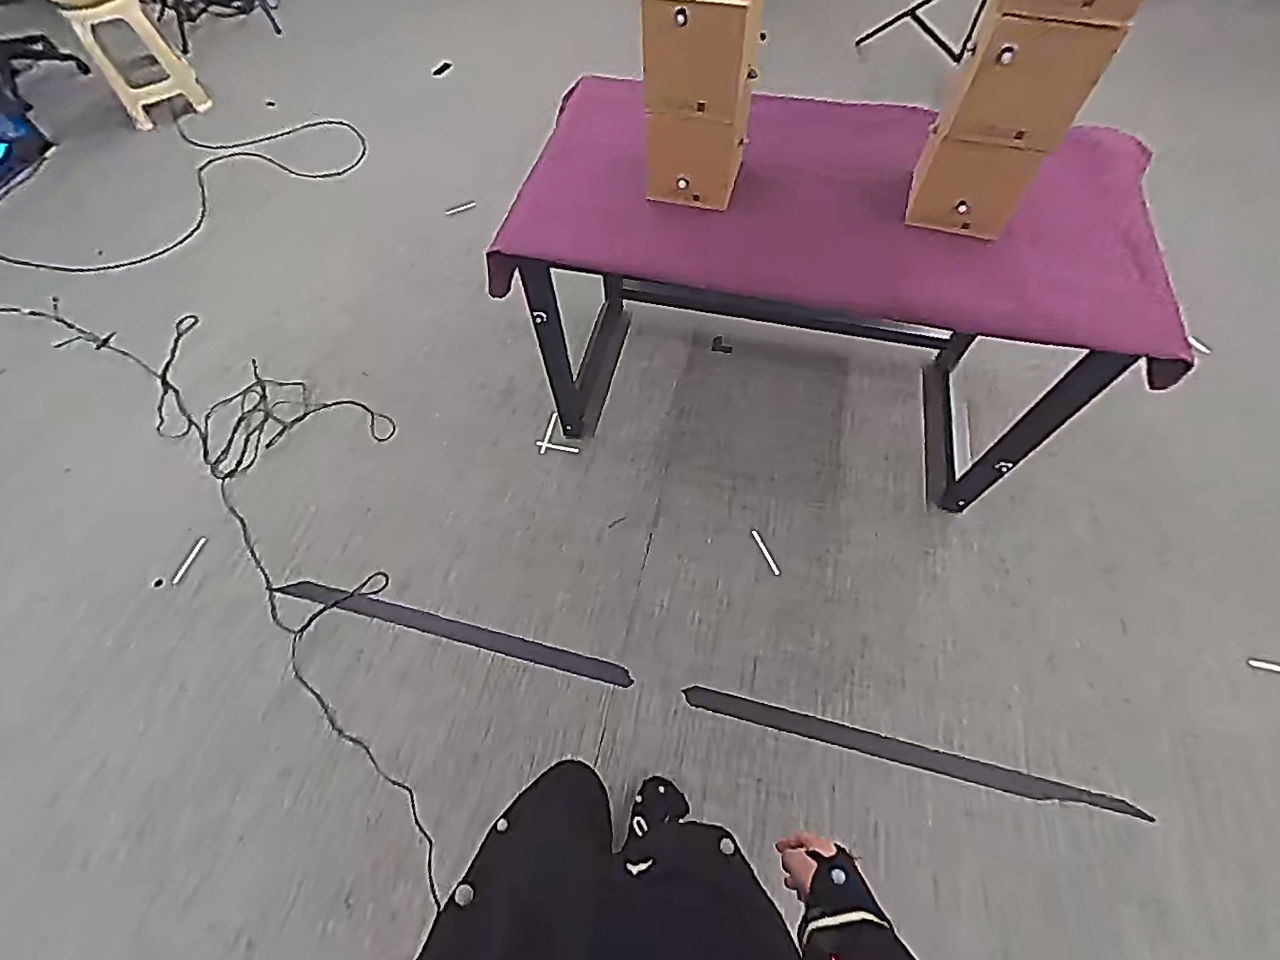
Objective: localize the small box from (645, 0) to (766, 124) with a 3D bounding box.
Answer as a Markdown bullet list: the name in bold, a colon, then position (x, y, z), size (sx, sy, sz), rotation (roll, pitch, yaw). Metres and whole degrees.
- **small box**: position (0.108, -0.734, 0.898), size (0.168, 0.176, 0.179), rotation (14, 63, 9)

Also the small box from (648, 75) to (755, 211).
- **small box**: position (0.114, -0.657, 1.043), size (0.168, 0.176, 0.179), rotation (13, 64, 9)

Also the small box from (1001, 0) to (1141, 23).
- **small box**: position (0.596, -0.728, 0.693), size (0.168, 0.176, 0.179), rotation (18, 63, 10)

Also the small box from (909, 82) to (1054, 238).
- **small box**: position (0.612, -0.579, 0.984), size (0.168, 0.176, 0.179), rotation (16, 64, 11)
